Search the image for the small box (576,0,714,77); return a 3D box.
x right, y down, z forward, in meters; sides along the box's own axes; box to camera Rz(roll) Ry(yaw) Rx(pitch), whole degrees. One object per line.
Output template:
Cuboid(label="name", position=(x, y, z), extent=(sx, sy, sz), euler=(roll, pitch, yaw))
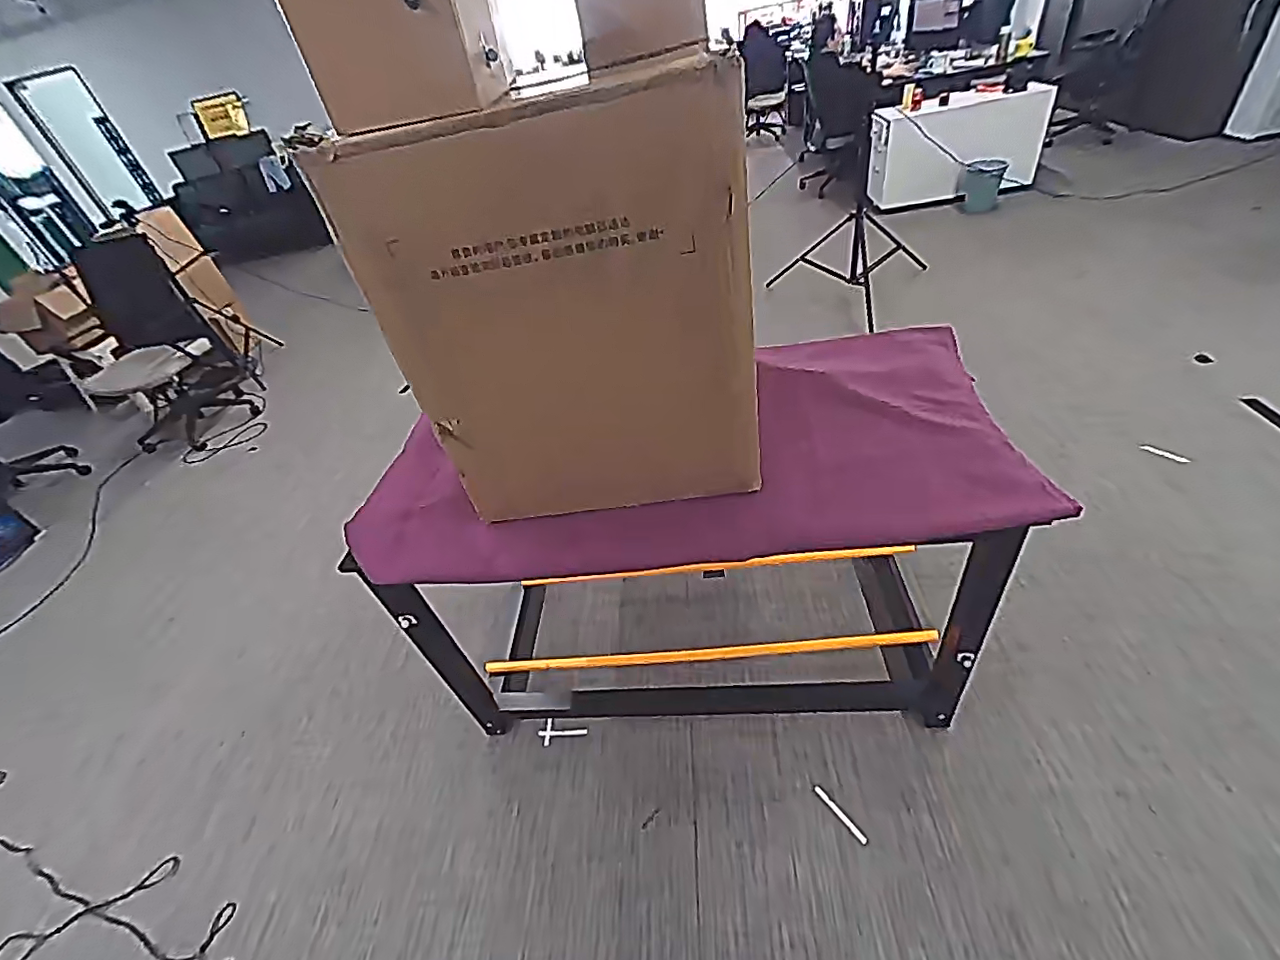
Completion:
Cuboid(label="small box", position=(0.009, -0.687, 0.750), extent=(0.179, 0.176, 0.168), euler=(-4, 41, 12))
